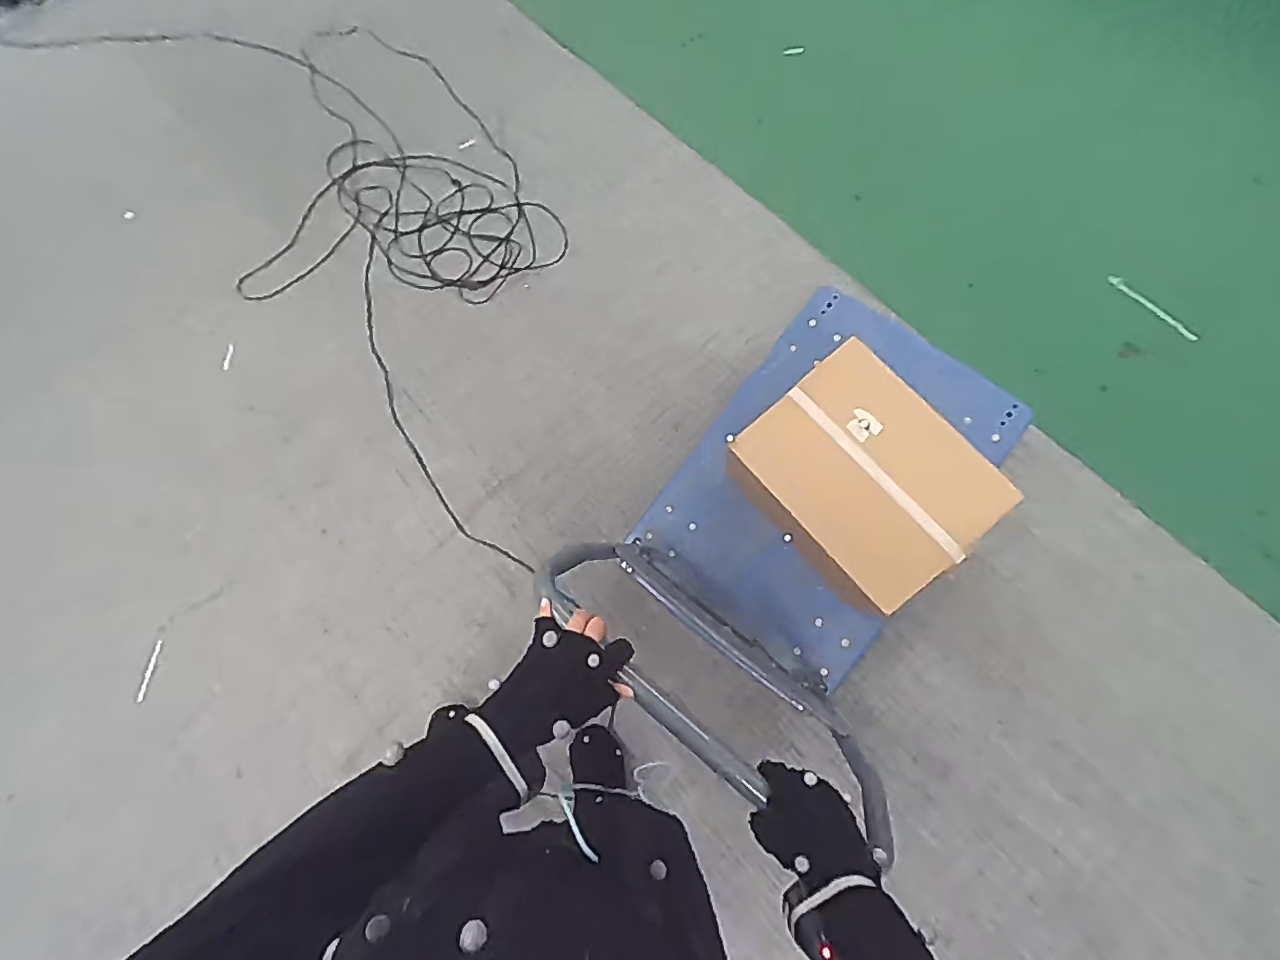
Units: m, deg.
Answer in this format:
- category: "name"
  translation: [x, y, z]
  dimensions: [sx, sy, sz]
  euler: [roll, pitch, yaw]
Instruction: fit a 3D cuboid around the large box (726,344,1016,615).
- category: "large box"
  translation: [0.424, 0.014, 1.103]
  dimensions: [0.320, 0.320, 0.408]
  euler: [-40, 77, 0]
